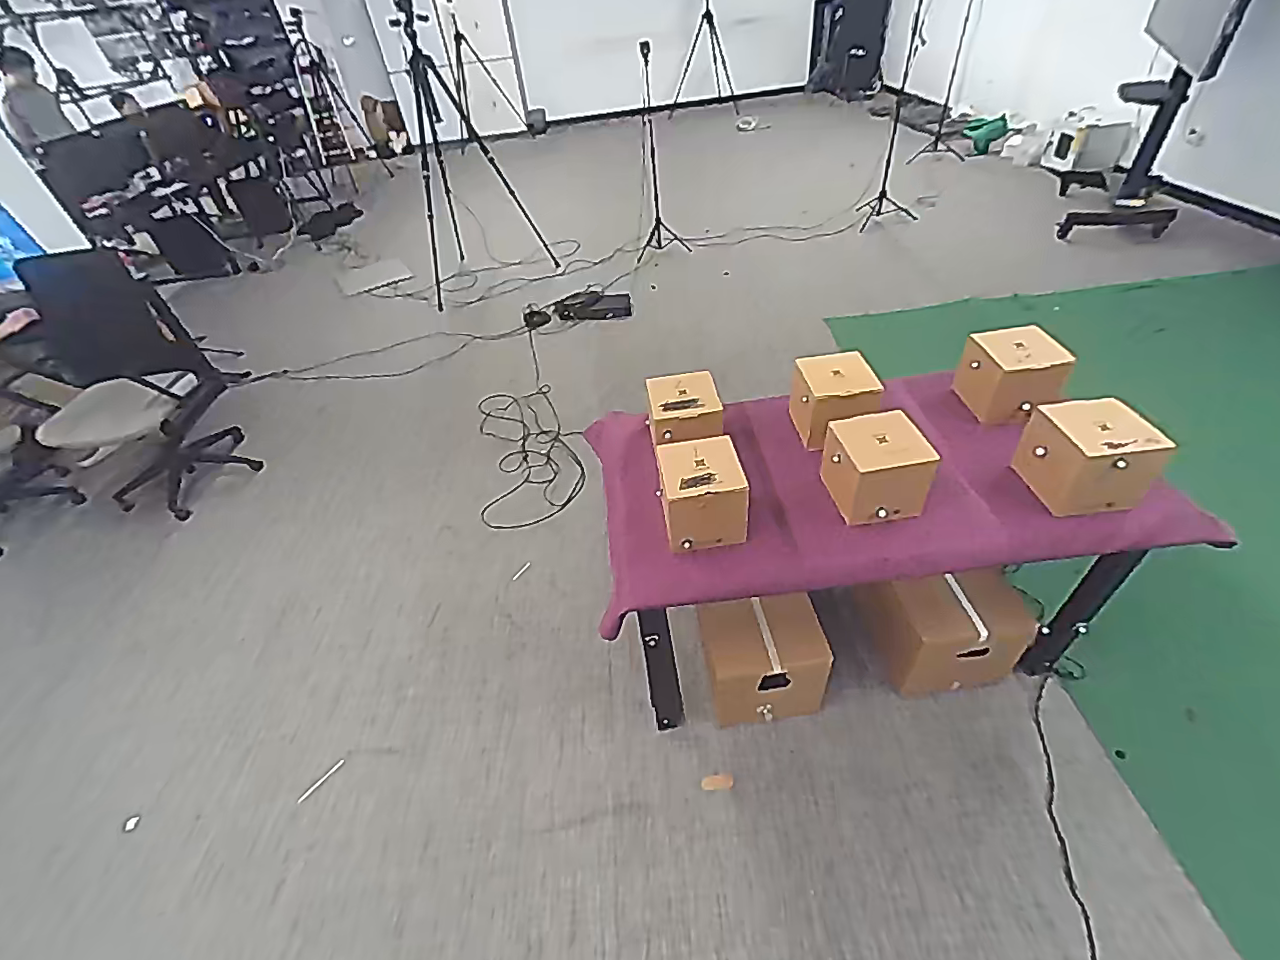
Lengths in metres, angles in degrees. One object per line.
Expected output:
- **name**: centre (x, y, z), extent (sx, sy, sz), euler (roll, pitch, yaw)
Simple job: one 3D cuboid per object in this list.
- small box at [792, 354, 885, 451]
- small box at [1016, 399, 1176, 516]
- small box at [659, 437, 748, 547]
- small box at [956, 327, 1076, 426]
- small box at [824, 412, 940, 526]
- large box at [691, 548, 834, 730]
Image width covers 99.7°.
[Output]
- **small box**: centre (0.495, -0.198, 1.381), extent (0.168, 0.176, 0.179), euler (-7, 44, 1)
- **small box**: centre (0.941, -0.047, 1.141), extent (0.168, 0.176, 0.179), euler (-7, 40, 4)
- **small box**: centre (0.138, 0.032, 1.184), extent (0.168, 0.176, 0.179), euler (-8, 41, -1)
- **small box**: centre (0.938, -0.261, 1.371), extent (0.168, 0.176, 0.179), euler (-8, 44, 4)
- **small box**: centre (0.518, -0.024, 1.188), extent (0.168, 0.176, 0.179), euler (-9, 42, 0)
- **large box**: centre (0.352, 0.479, 1.649), extent (0.320, 0.320, 0.408), euler (-8, 41, -1)
